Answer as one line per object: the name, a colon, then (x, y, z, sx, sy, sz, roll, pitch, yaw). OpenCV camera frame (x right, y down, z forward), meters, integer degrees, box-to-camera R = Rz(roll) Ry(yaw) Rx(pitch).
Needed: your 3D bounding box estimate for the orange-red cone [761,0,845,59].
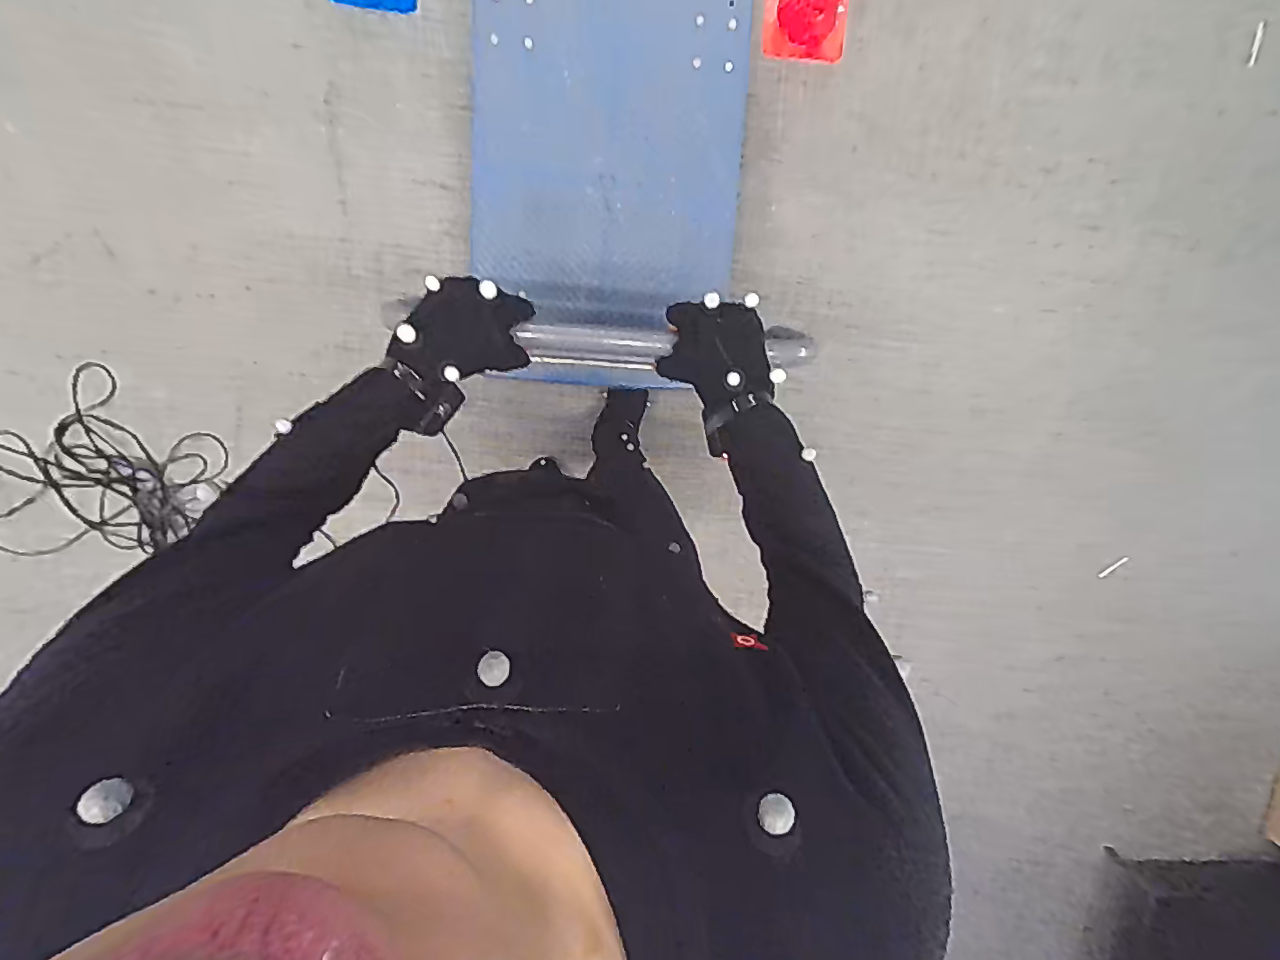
orange-red cone: (0.405, -1.102, 1.136, 0.199, 0.360, 0.198, 4, 100, -3)
